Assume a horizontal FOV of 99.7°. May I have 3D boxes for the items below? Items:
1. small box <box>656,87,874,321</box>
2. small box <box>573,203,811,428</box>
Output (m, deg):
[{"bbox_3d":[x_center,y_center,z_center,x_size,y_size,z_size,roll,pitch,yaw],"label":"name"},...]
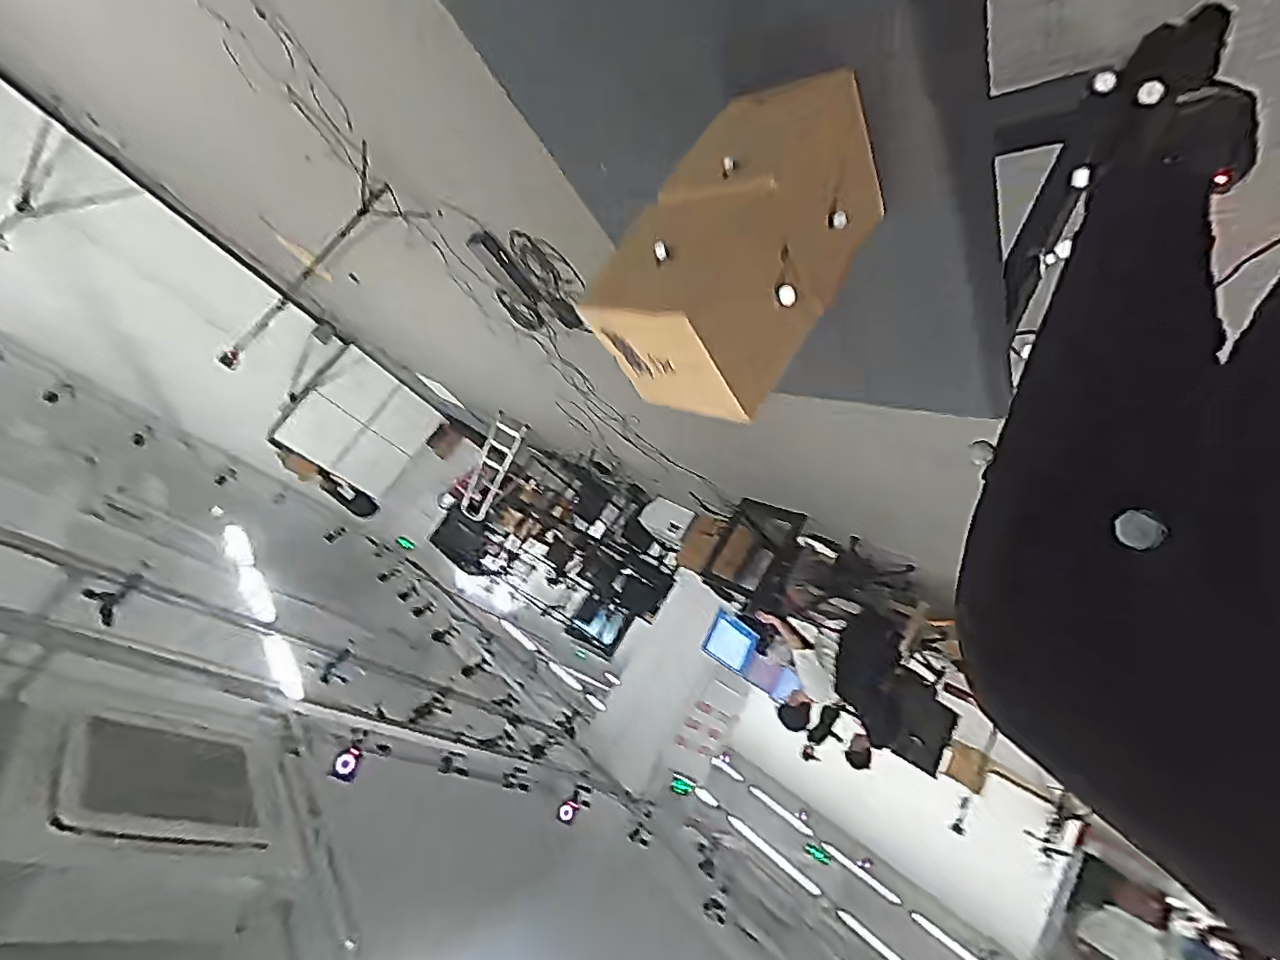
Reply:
[{"bbox_3d":[0.158,-0.320,0.653,0.168,0.176,0.179,21,162,44],"label":"small box"},{"bbox_3d":[0.064,-0.188,0.621,0.179,0.176,0.168,21,161,44],"label":"small box"}]
